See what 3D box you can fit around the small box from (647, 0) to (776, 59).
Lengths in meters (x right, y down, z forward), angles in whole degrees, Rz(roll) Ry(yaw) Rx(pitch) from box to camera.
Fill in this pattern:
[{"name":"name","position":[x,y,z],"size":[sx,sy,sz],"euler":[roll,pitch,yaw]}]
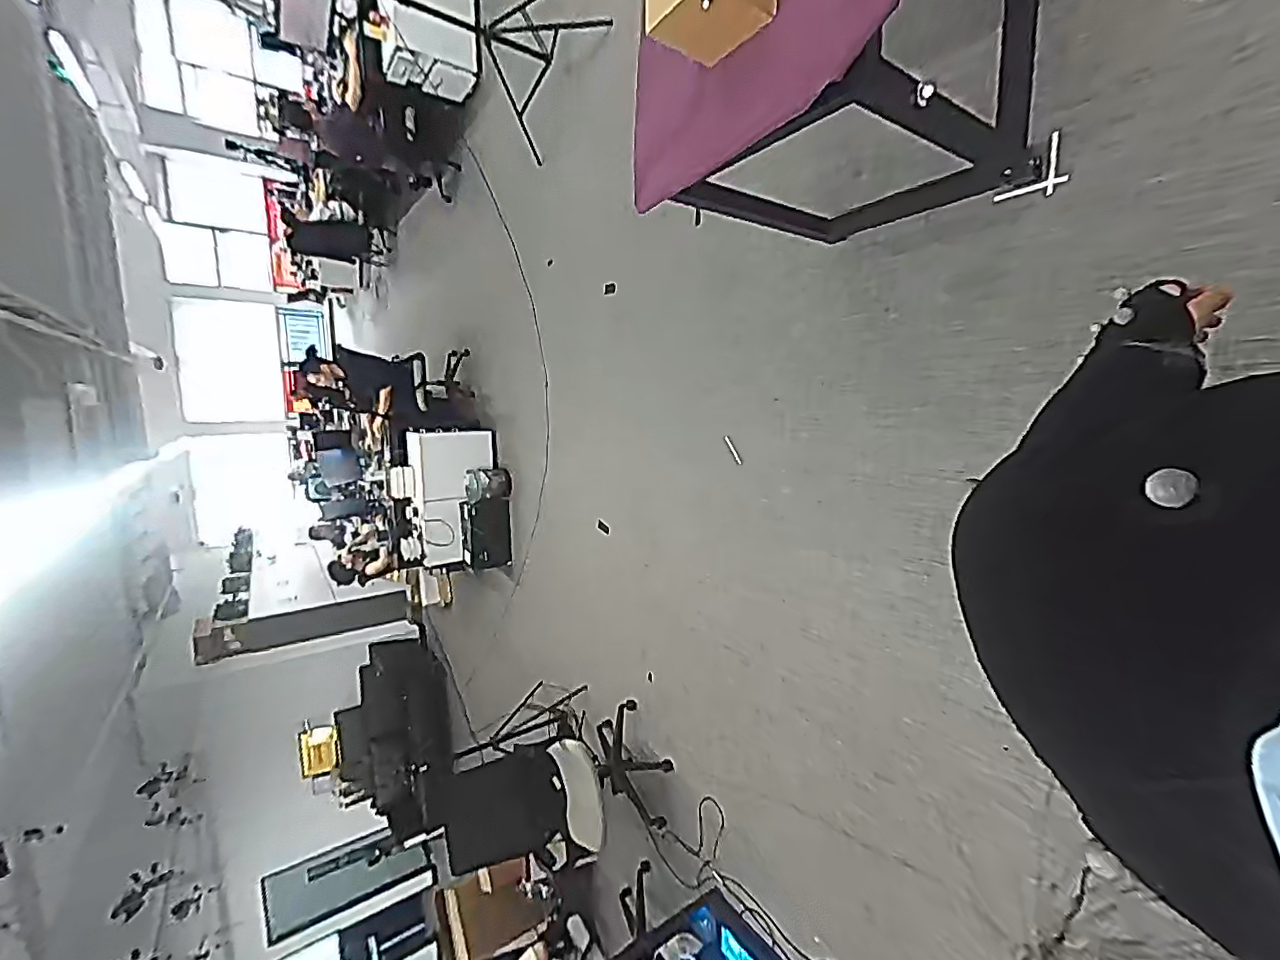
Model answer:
[{"name":"small box","position":[0.129,-0.920,0.984],"size":[0.179,0.176,0.168],"euler":[8,101,54]}]
